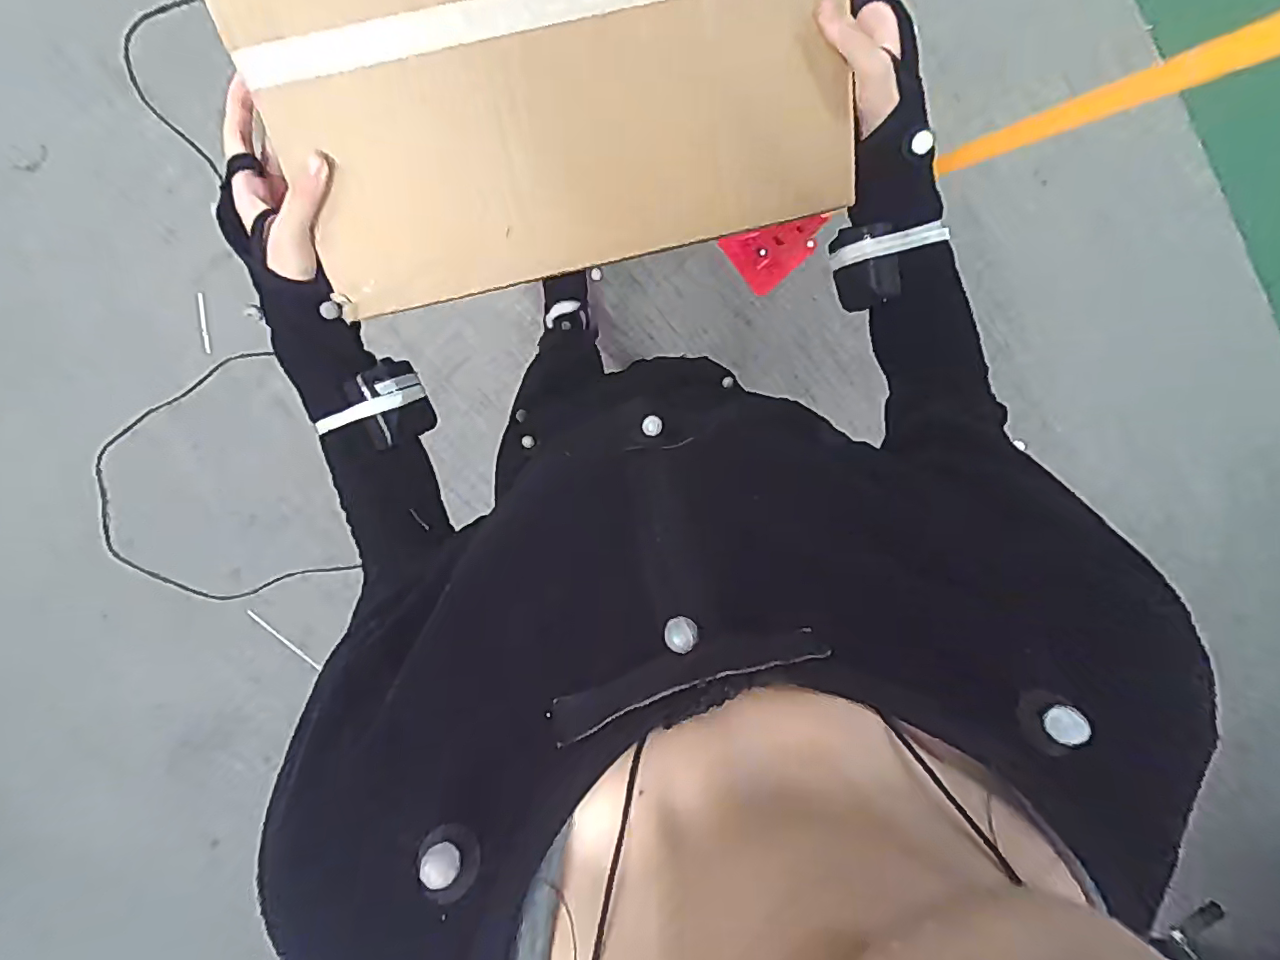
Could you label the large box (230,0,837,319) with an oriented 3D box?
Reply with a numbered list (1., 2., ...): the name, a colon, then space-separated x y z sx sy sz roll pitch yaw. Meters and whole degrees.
1. large box: -0.079 -0.371 0.510 0.408 0.320 0.320 -14 113 -2
